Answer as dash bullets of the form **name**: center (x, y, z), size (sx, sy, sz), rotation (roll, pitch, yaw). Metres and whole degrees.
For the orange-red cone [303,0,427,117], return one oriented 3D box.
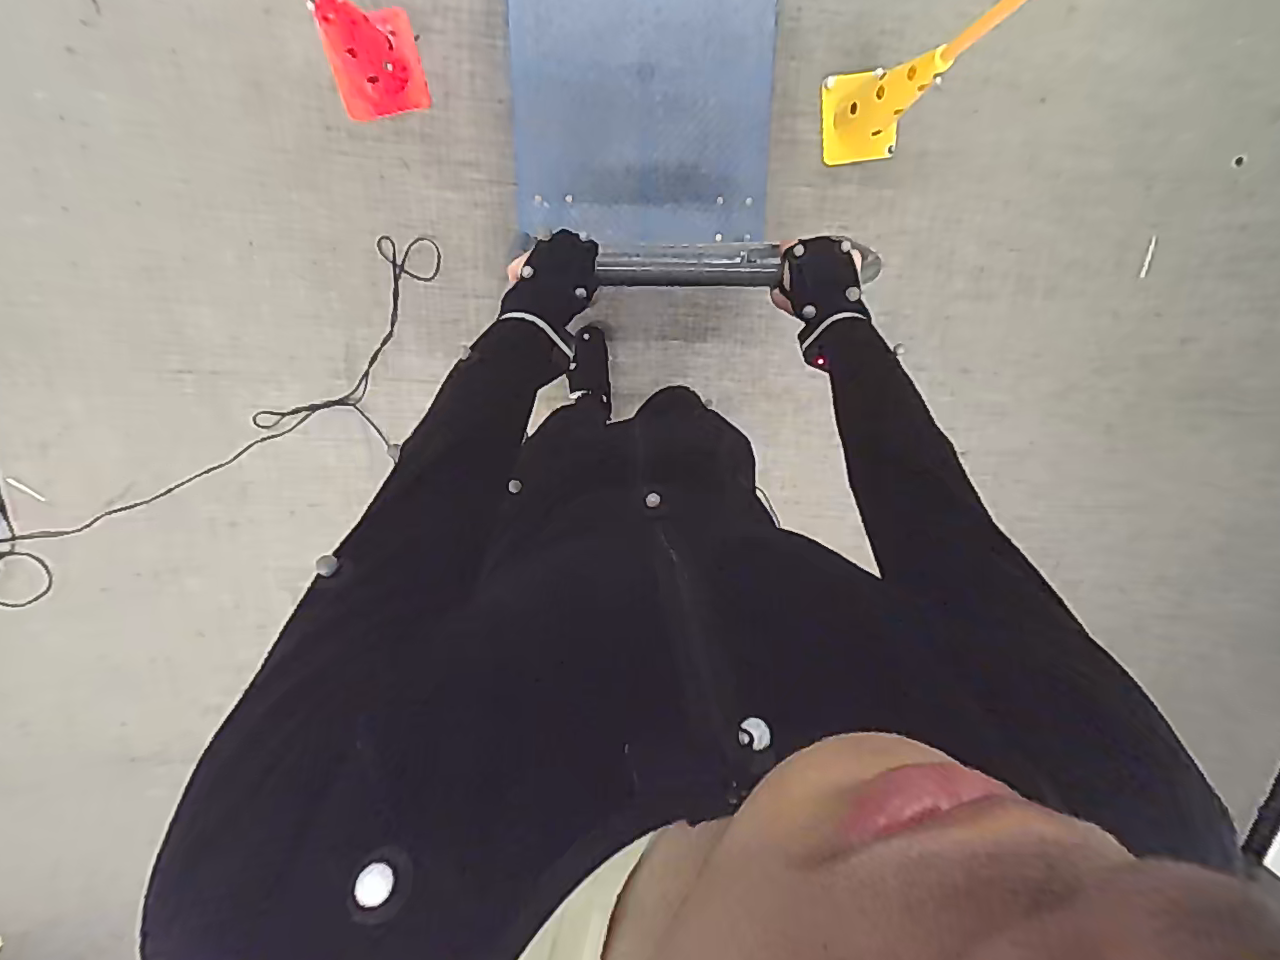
- **orange-red cone**: center (-0.592, -0.907, 1.079), size (0.199, 0.360, 0.198), rotation (-12, 108, -1)
